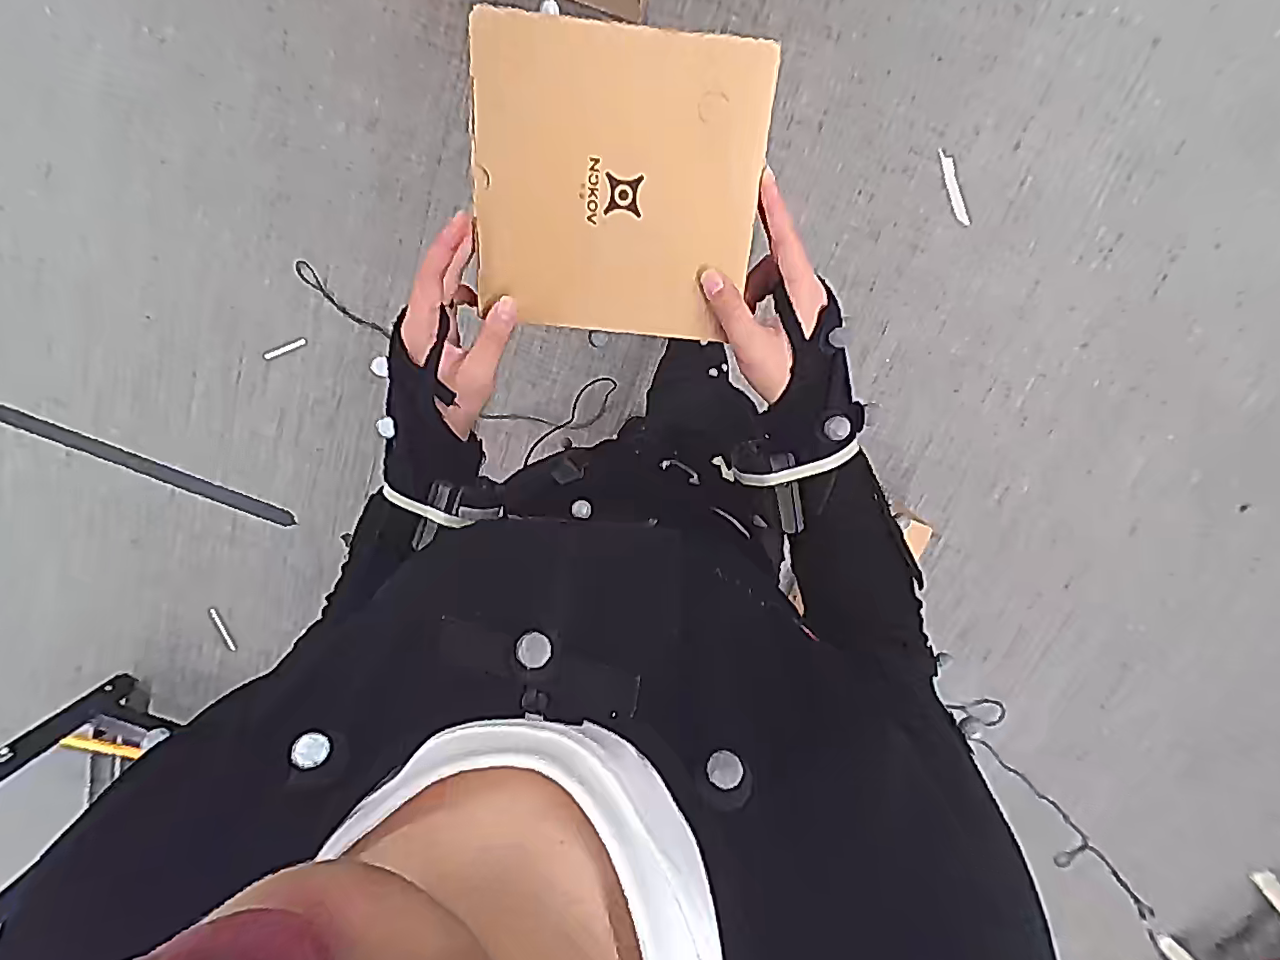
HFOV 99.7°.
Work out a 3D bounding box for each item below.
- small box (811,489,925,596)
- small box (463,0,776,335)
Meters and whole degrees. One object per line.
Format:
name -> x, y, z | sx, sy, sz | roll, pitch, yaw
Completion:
small box -> 0.529, 0.139, 1.284 | 0.168, 0.176, 0.179 | 21, 104, -1
small box -> -0.018, -0.211, 0.400 | 0.179, 0.176, 0.168 | 5, 113, -2
